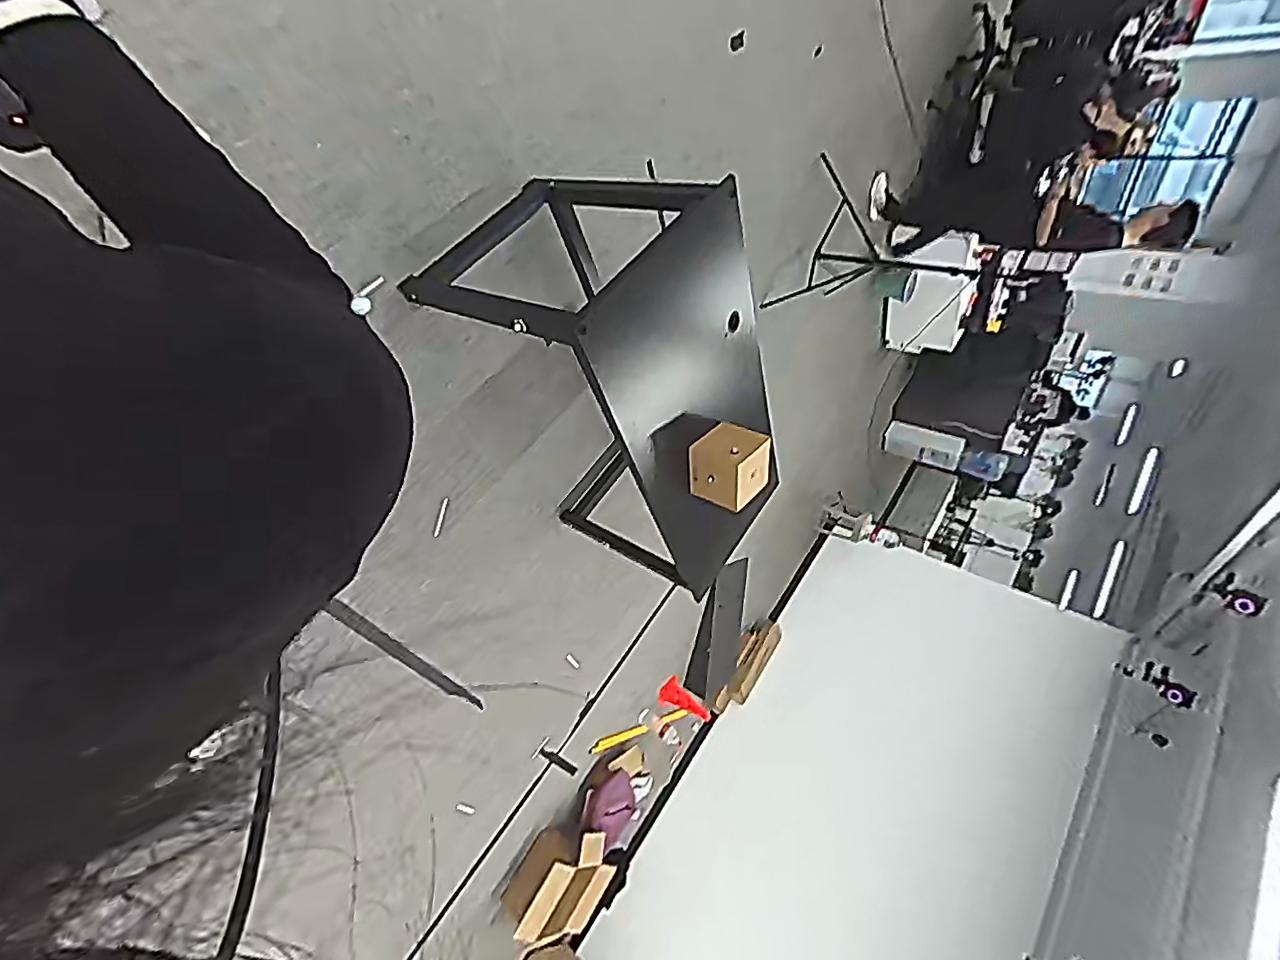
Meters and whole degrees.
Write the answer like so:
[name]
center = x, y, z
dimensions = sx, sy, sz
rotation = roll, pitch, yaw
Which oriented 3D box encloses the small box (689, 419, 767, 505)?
[small box]
center = 0.256, -0.058, 1.595
dimensions = 0.179, 0.176, 0.168
rotation = -38, 137, -36
